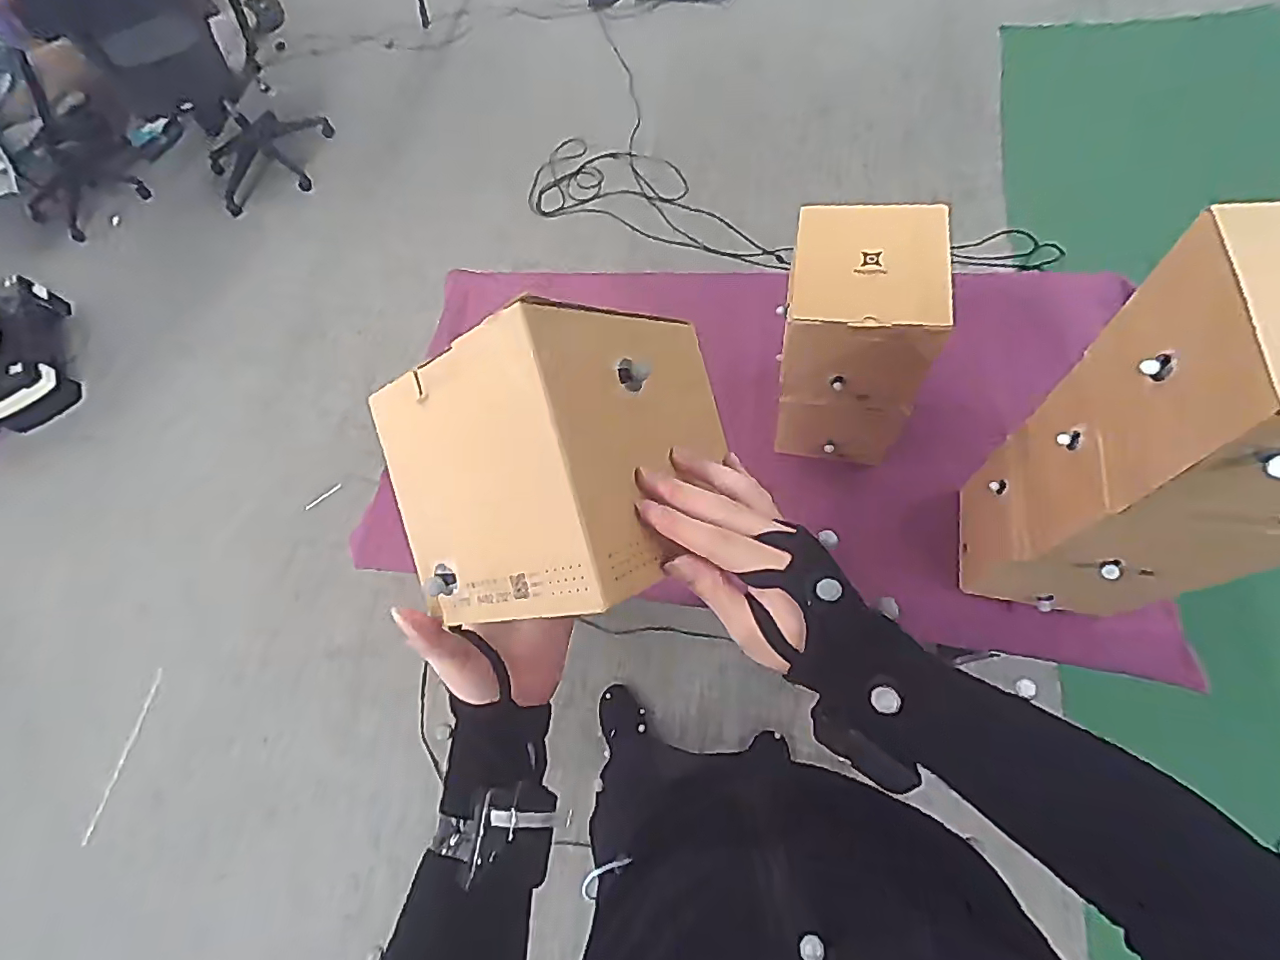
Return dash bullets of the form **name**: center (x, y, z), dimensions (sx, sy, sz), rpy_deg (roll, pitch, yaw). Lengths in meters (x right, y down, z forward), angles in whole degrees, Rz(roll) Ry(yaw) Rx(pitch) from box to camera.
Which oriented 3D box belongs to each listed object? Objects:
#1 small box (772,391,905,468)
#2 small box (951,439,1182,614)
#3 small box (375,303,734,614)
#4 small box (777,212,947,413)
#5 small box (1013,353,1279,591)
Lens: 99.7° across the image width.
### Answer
- **small box**: center (0.300, -0.140, 0.828), dimensions (0.168, 0.176, 0.179), rpy_deg (9, 69, 14)
- **small box**: center (0.529, 0.068, 0.698), dimensions (0.179, 0.176, 0.168), rpy_deg (9, 67, 14)
- **small box**: center (-0.052, -0.008, 0.392), dimensions (0.168, 0.179, 0.176), rpy_deg (-15, 90, 38)
- **small box**: center (0.268, -0.206, 0.683), dimensions (0.168, 0.176, 0.179), rpy_deg (6, 69, 12)
- **small box**: center (0.506, -0.002, 0.551), dimensions (0.168, 0.176, 0.179), rpy_deg (8, 68, 15)
